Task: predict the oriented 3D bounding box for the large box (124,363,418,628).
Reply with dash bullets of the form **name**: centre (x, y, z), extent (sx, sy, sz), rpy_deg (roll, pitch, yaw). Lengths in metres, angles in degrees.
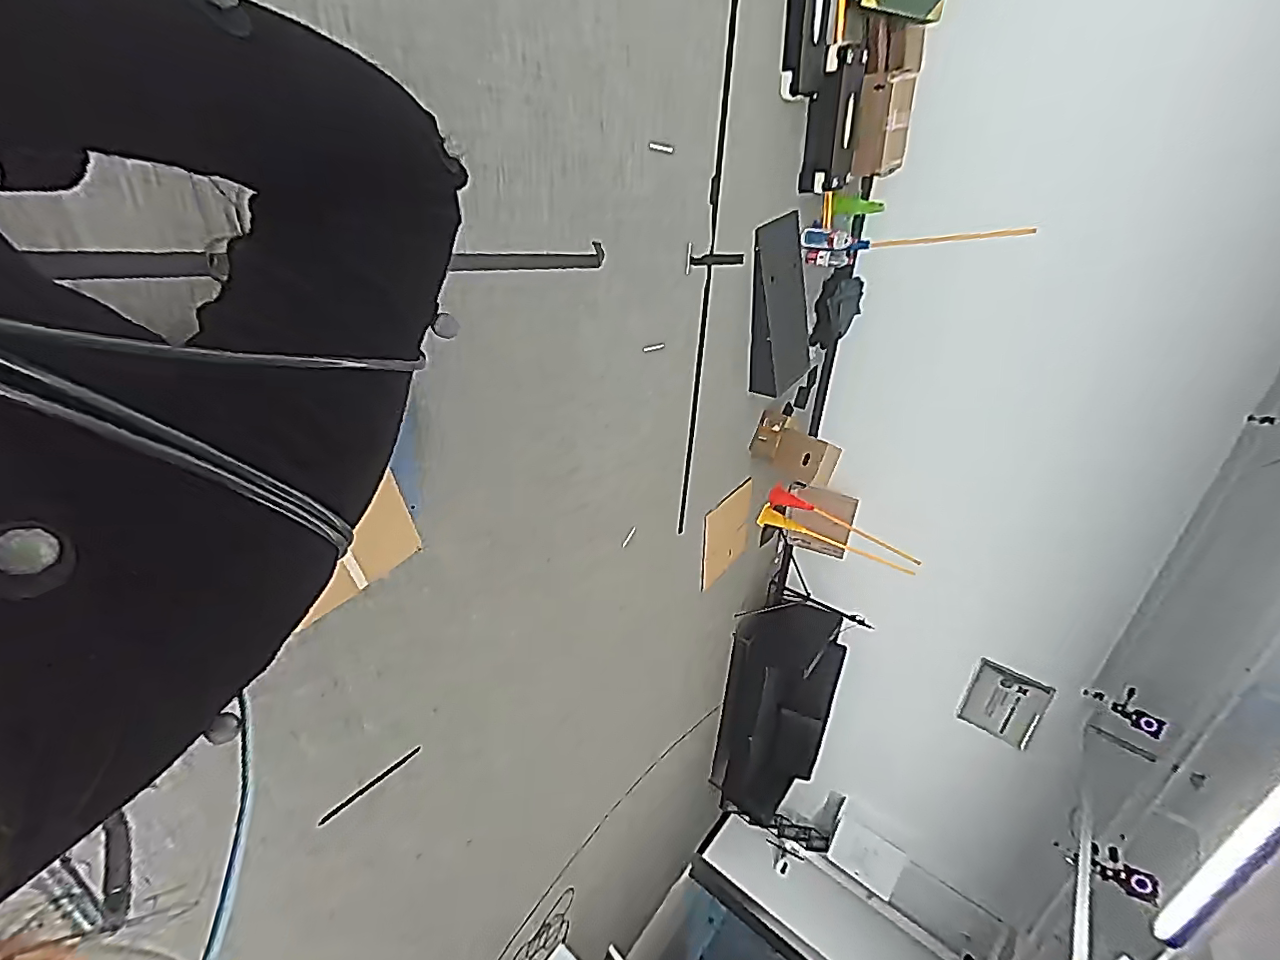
- **large box**: centre (-0.746, 0.020, 1.139), extent (0.320, 0.320, 0.408), rpy_deg (-39, 139, -37)
